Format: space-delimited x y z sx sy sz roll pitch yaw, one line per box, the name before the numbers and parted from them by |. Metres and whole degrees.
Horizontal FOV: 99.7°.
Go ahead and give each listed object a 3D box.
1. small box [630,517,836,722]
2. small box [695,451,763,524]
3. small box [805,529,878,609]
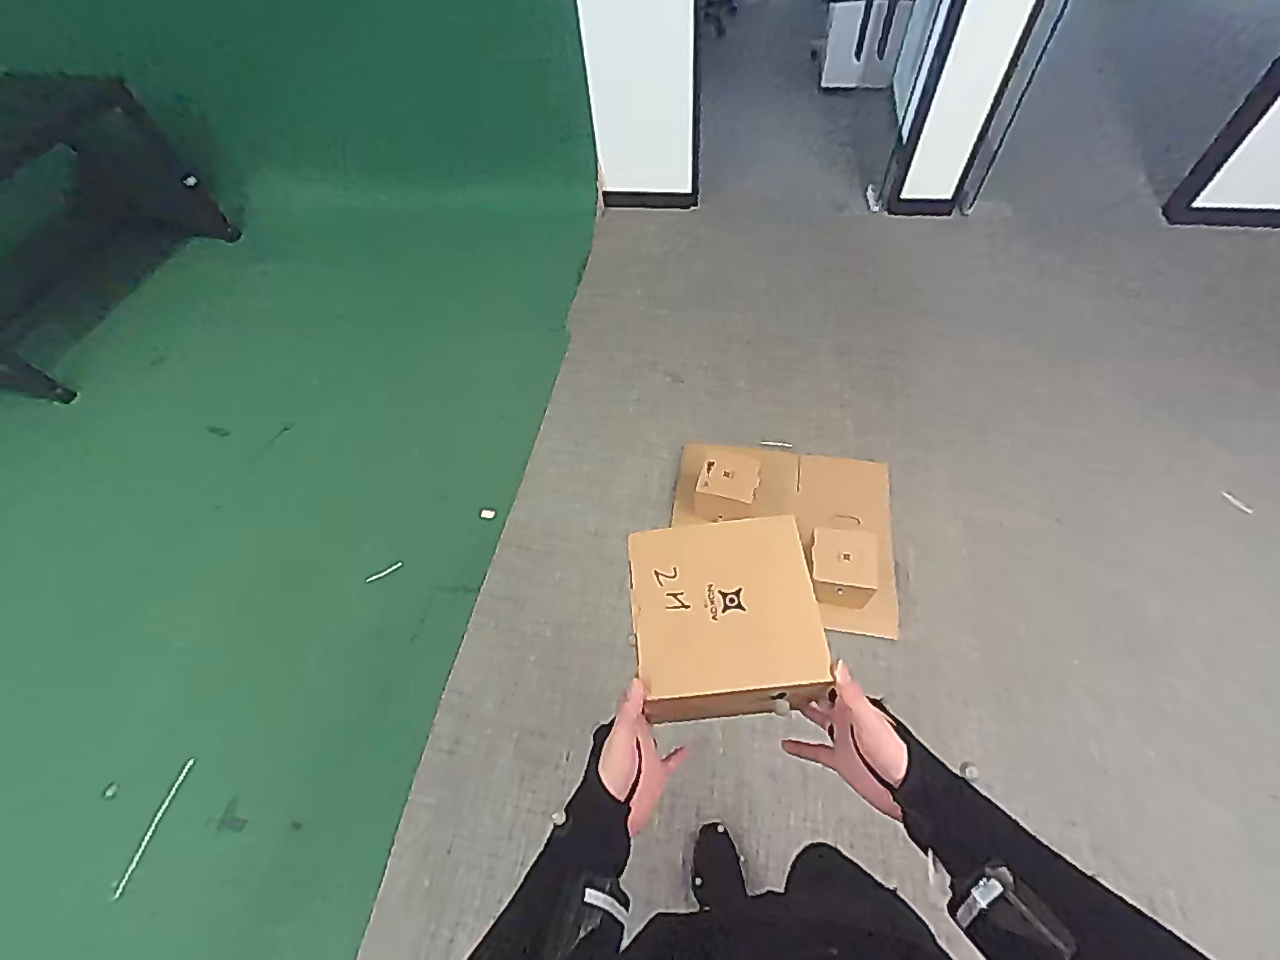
small box | 0.086 0.157 0.583 0.179 0.176 0.168 -7 58 2
small box | 0.281 0.036 1.730 0.179 0.176 0.168 14 60 13
small box | 0.574 0.262 1.566 0.179 0.176 0.168 8 59 10
